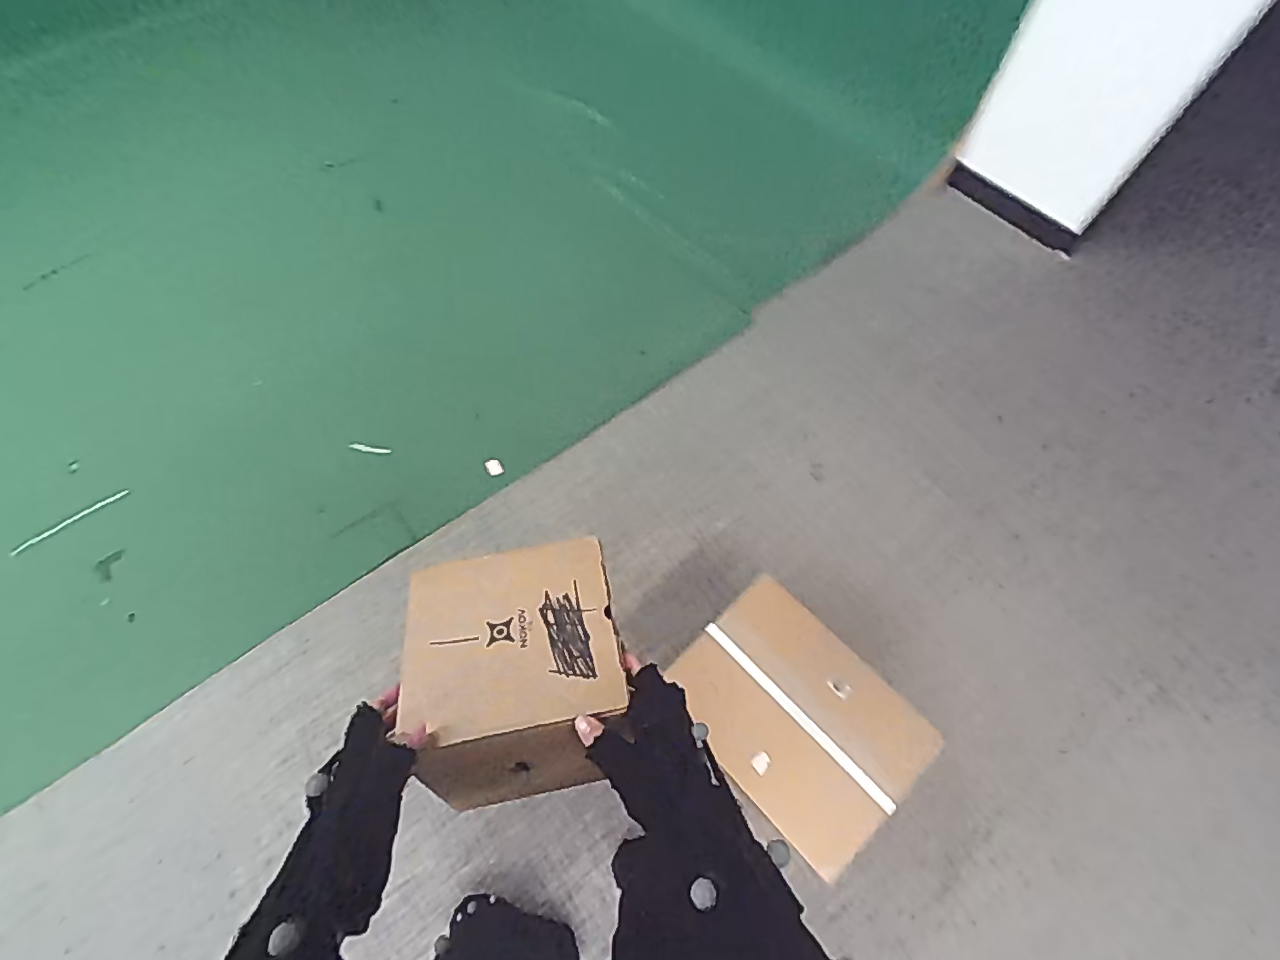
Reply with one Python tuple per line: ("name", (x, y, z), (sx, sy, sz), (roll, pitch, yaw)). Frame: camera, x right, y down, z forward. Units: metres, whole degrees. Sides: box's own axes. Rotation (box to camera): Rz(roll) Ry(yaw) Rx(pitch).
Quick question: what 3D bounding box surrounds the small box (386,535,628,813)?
("small box", (-0.113, 0.180, 0.500), (0.179, 0.176, 0.168), (-13, 48, -9))
